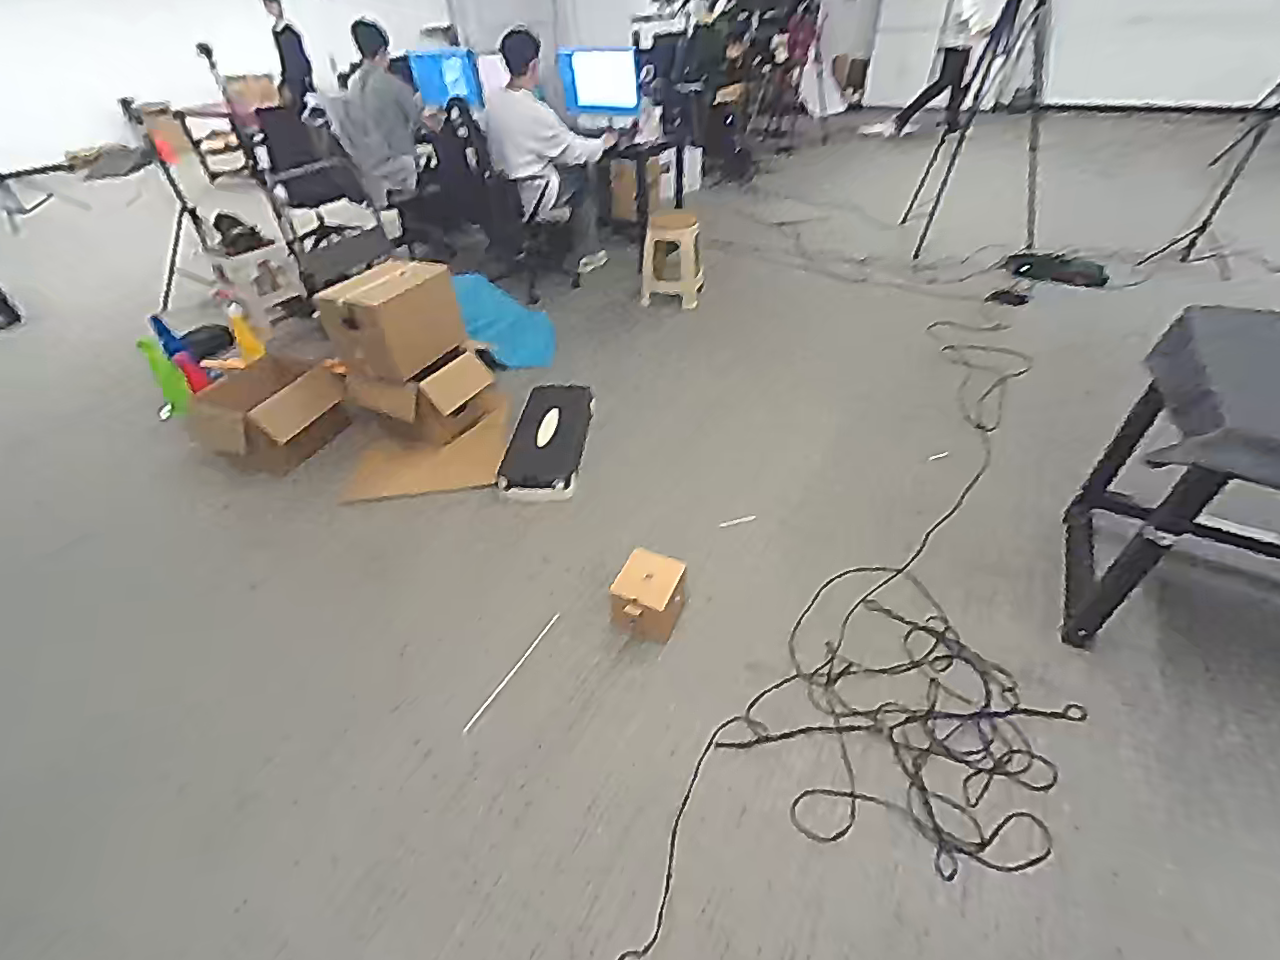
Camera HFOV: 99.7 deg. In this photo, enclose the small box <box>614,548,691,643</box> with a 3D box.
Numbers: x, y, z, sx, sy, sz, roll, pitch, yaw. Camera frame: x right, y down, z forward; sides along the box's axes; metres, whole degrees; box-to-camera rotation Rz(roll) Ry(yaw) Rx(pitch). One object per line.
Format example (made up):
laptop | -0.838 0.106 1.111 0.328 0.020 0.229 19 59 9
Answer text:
small box | 0.037 0.336 1.568 0.168 0.176 0.179 16 45 20
